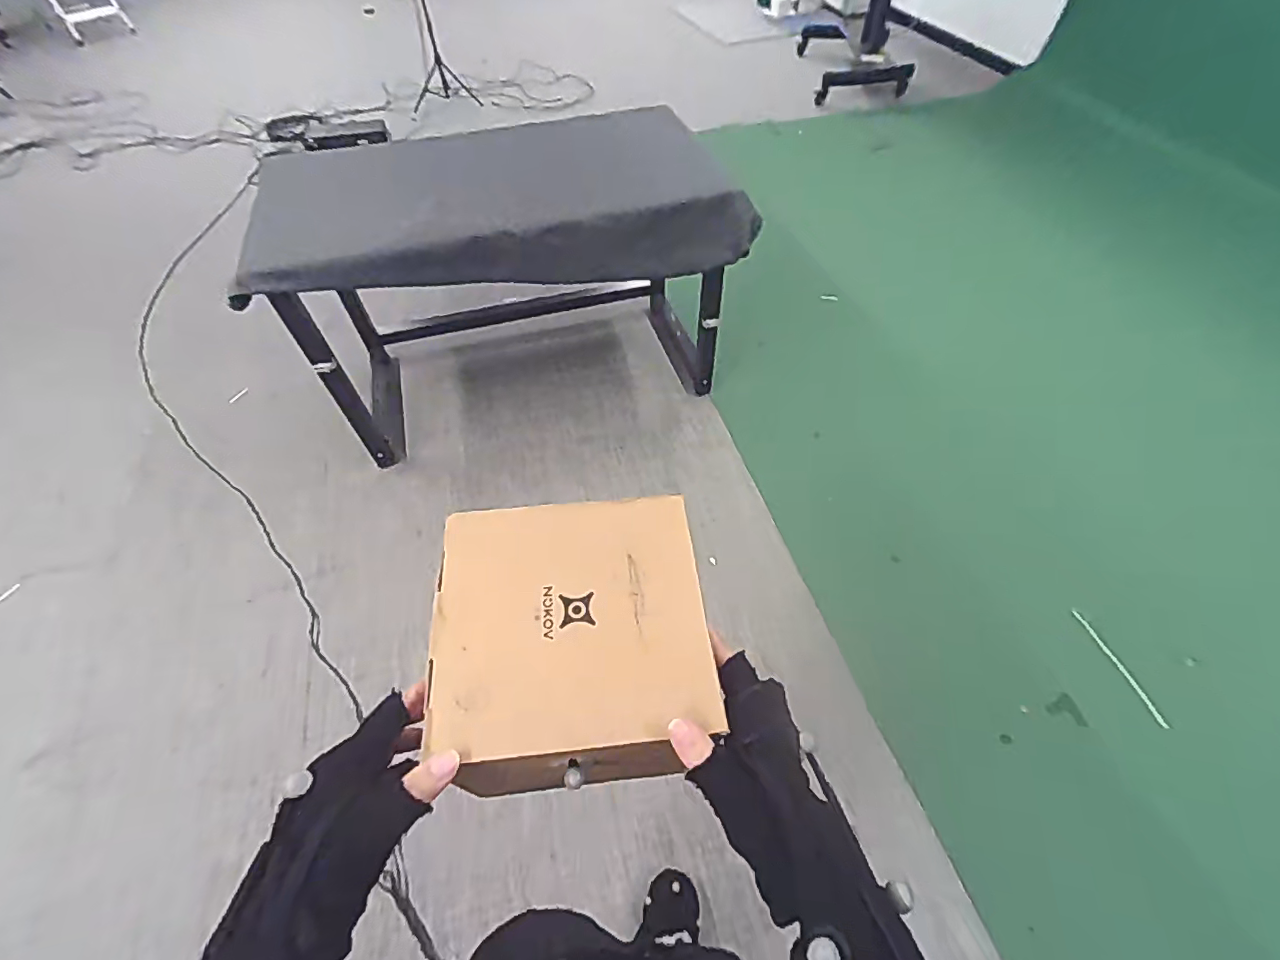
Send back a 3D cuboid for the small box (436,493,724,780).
[{"bbox_3d":[-0.045,0.129,0.431,0.179,0.176,0.168,-4,55,-6],"label":"small box"}]
